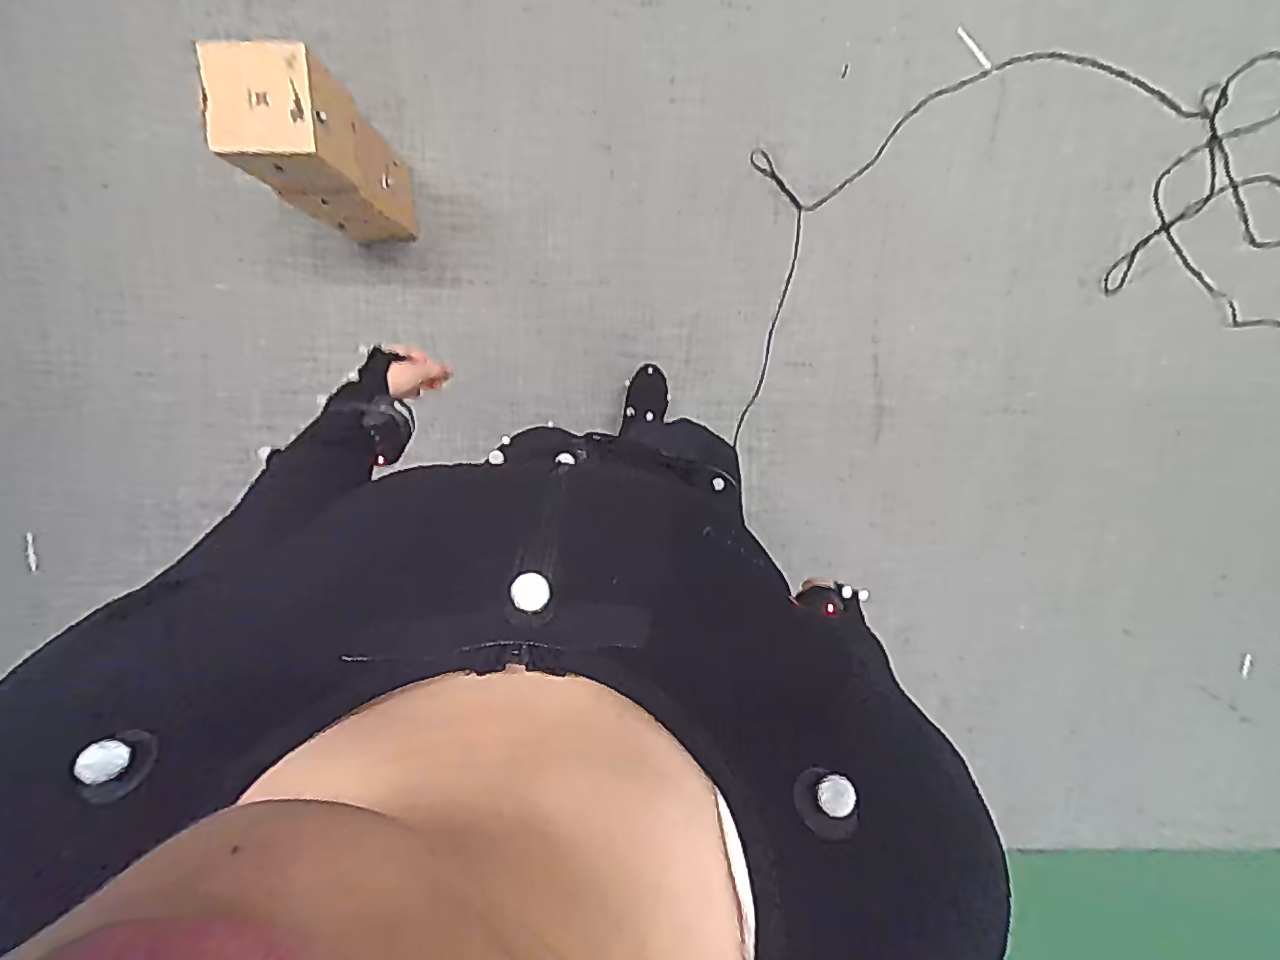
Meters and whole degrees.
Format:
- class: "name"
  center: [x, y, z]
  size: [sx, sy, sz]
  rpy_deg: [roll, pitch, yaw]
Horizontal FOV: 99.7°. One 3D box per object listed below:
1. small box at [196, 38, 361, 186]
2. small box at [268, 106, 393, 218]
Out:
- class: "small box"
  center: [-0.626, -0.637, 0.955]
  size: [0.179, 0.176, 0.168]
  rpy_deg: [0, 99, -1]
- class: "small box"
  center: [-0.637, -0.654, 1.118]
  size: [0.179, 0.176, 0.168]
  rpy_deg: [-1, 99, -2]
